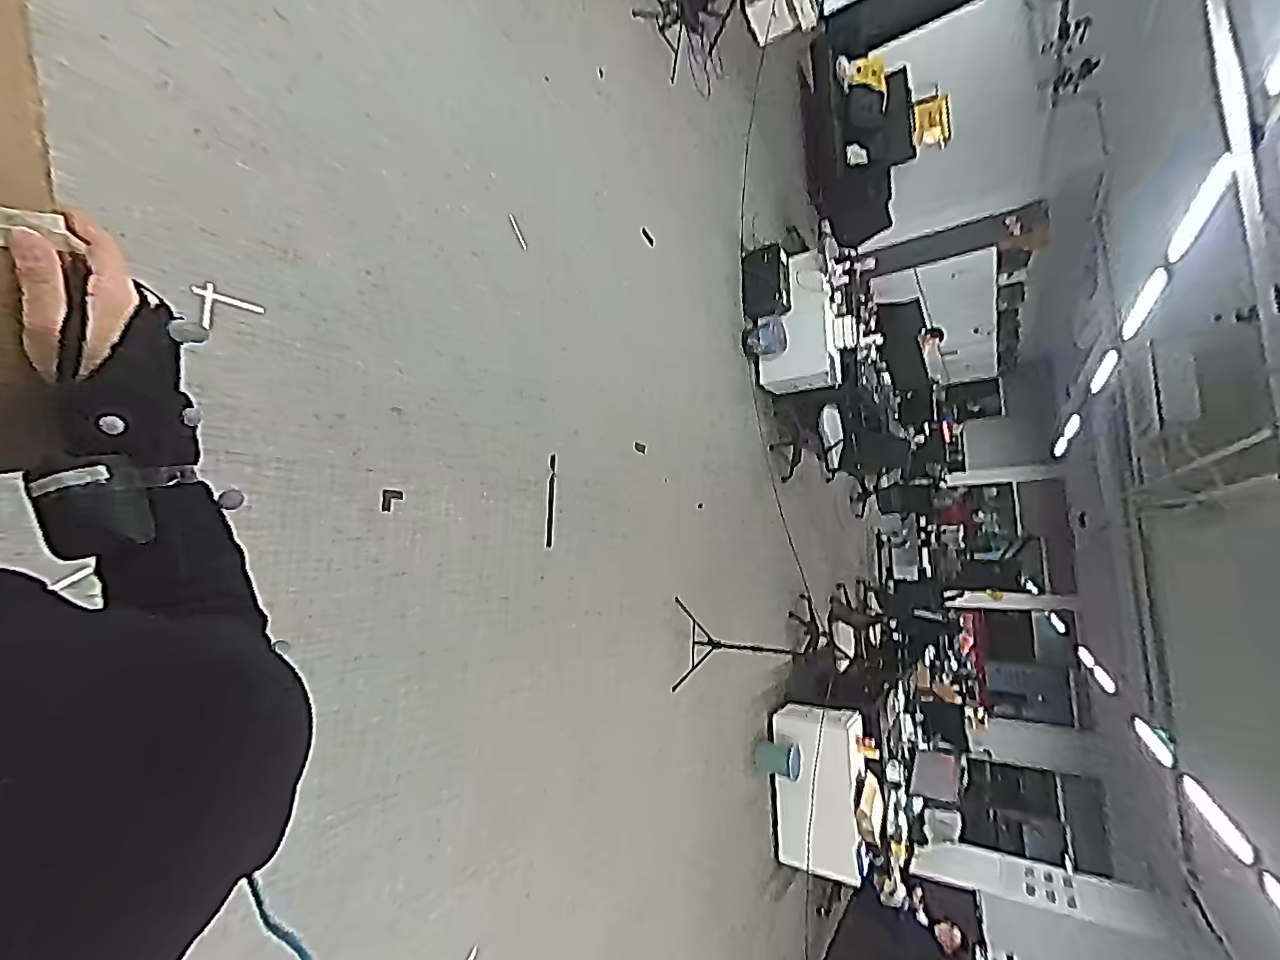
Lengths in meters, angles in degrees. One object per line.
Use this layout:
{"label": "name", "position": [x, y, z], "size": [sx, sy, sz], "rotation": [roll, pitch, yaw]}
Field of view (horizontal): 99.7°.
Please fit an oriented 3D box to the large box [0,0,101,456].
{"label": "large box", "position": [-0.589, -0.182, 0.246], "size": [0.408, 0.320, 0.320], "rotation": [-20, 134, -54]}
